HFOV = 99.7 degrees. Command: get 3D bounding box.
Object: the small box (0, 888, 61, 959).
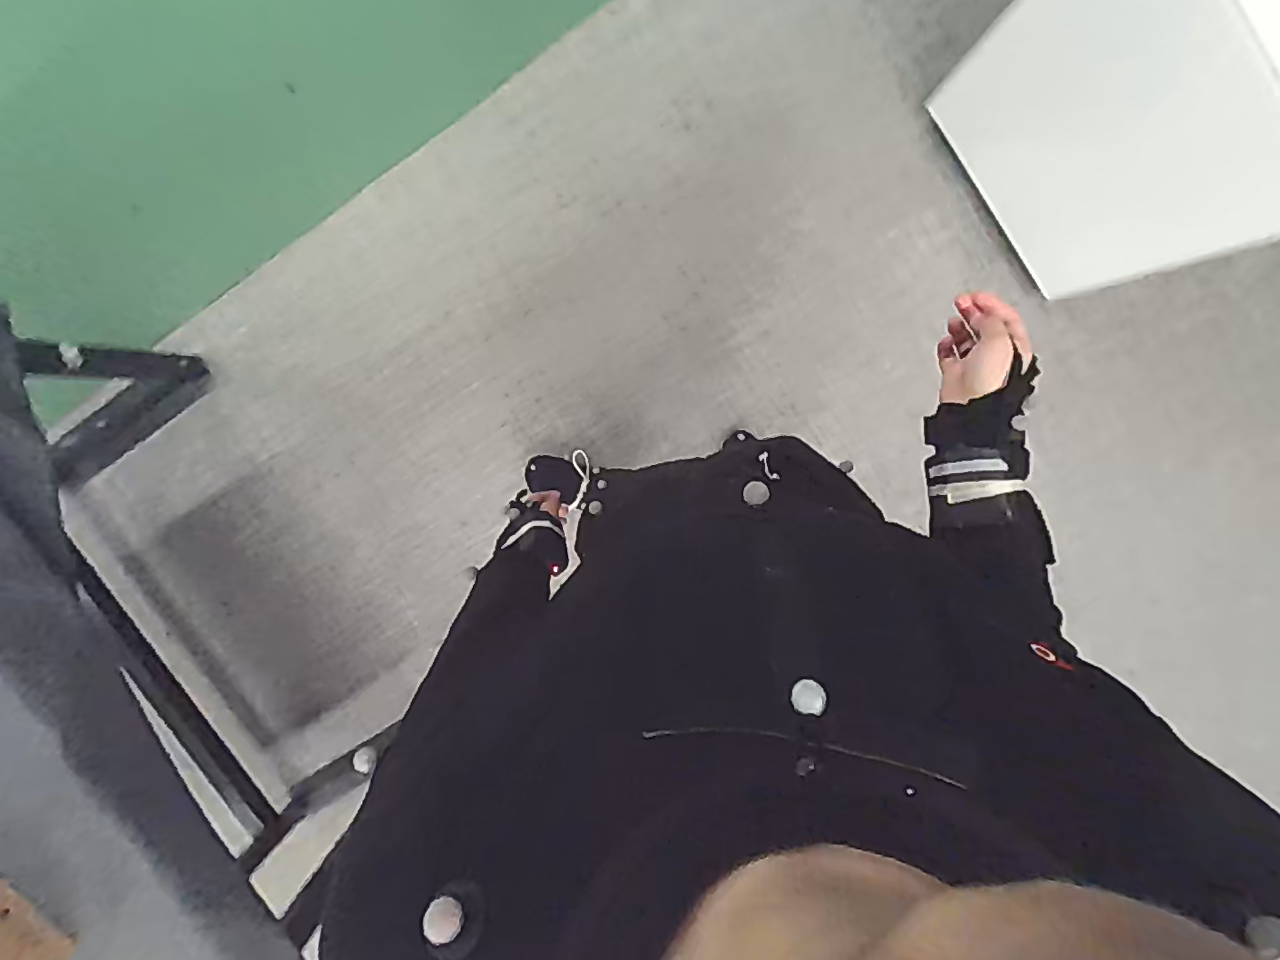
[{"bbox_3d":[-0.915,0.681,0.692,0.179,0.176,0.168,-44,92,9],"label":"small box"}]
